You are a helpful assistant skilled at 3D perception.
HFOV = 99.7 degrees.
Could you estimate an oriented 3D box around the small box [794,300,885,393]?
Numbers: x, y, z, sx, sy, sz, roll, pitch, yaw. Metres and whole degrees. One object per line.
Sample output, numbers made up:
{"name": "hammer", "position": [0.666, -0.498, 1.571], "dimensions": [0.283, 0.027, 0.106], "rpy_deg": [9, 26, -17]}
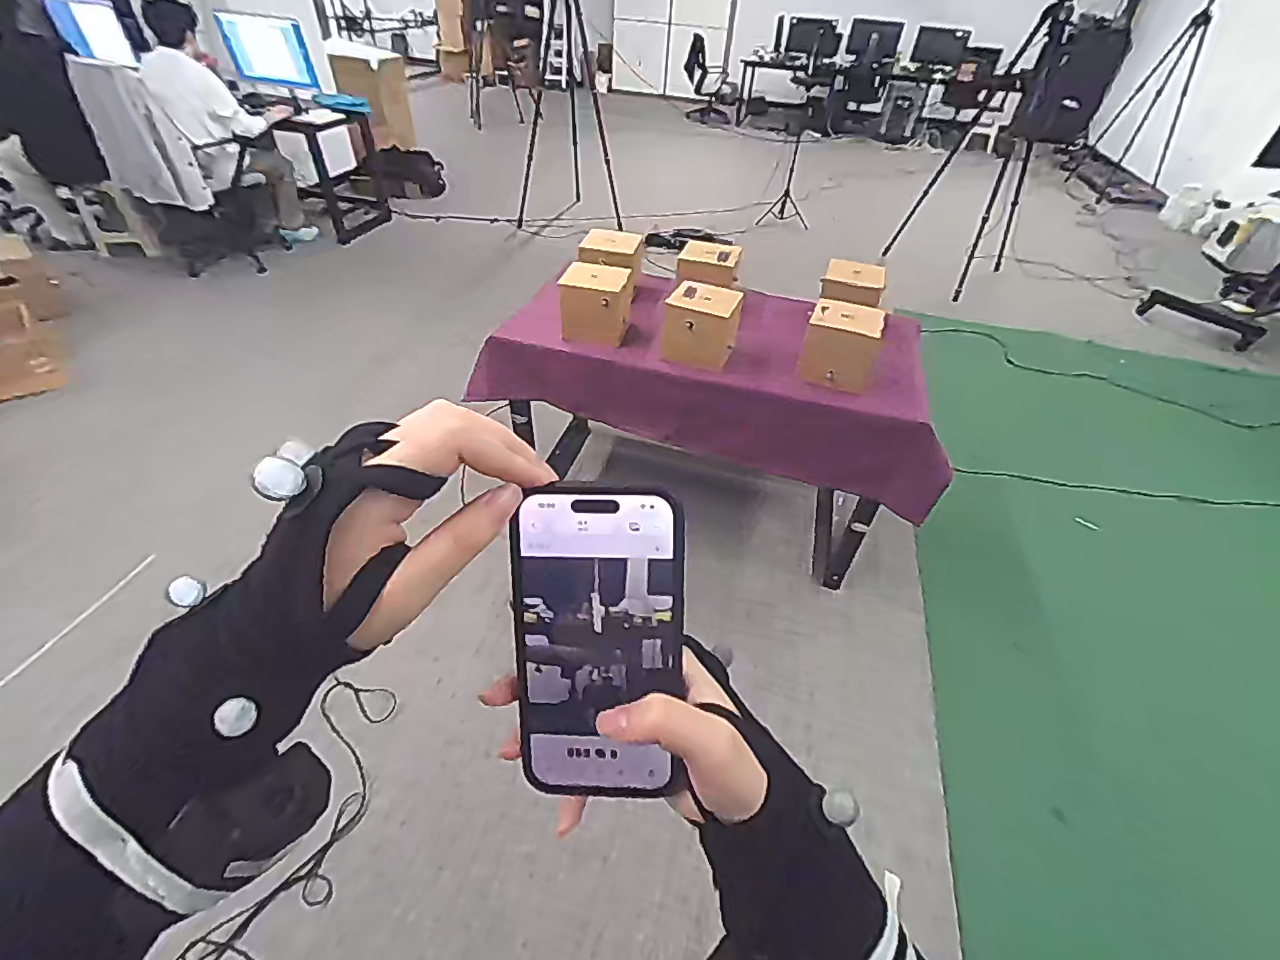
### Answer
{"name": "small box", "position": [0.532, -0.355, 1.451], "dimensions": [0.179, 0.176, 0.168], "rpy_deg": [19, 45, 15]}

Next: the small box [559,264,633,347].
{"name": "small box", "position": [-0.126, -0.502, 1.557], "dimensions": [0.179, 0.176, 0.168], "rpy_deg": [11, 43, 5]}

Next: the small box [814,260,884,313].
{"name": "small box", "position": [0.638, -0.553, 1.670], "dimensions": [0.168, 0.176, 0.179], "rpy_deg": [16, 45, 13]}

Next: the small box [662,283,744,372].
{"name": "small box", "position": [0.169, -0.420, 1.492], "dimensions": [0.179, 0.176, 0.168], "rpy_deg": [19, 45, 14]}
